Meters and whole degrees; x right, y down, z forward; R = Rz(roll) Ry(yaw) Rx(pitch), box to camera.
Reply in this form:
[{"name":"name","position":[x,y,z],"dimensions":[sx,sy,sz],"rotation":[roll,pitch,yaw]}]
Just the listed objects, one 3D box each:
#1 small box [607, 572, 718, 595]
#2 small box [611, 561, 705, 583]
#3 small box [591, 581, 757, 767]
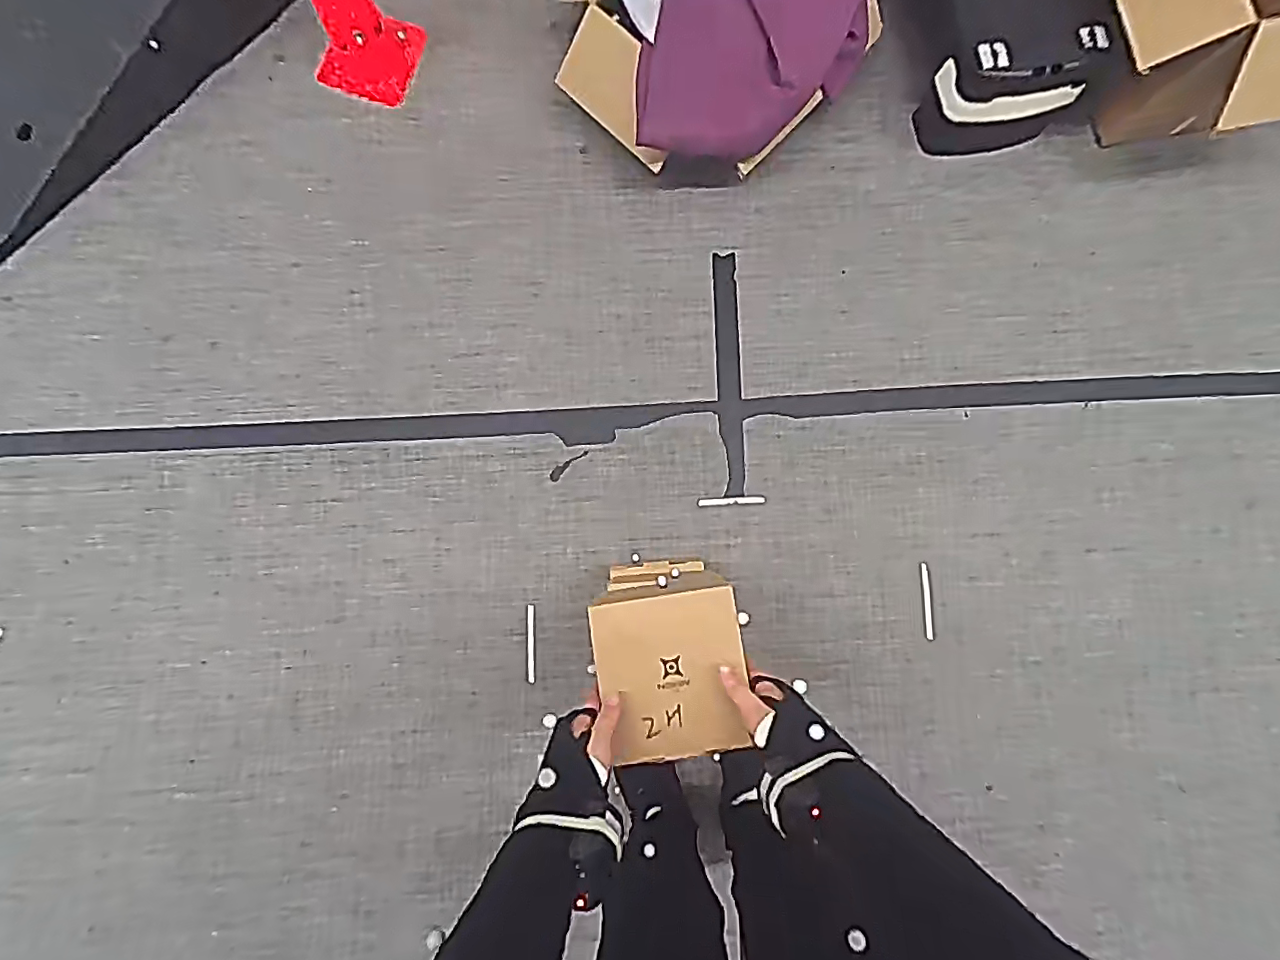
[{"name":"small box","position":[0.039,0.240,0.835],"dimensions":[0.168,0.176,0.179],"rotation":[-3,84,0]},{"name":"small box","position":[0.034,0.242,1.001],"dimensions":[0.168,0.176,0.179],"rotation":[-4,85,0]},{"name":"small box","position":[0.037,0.223,0.669],"dimensions":[0.168,0.176,0.179],"rotation":[-8,84,1]}]
